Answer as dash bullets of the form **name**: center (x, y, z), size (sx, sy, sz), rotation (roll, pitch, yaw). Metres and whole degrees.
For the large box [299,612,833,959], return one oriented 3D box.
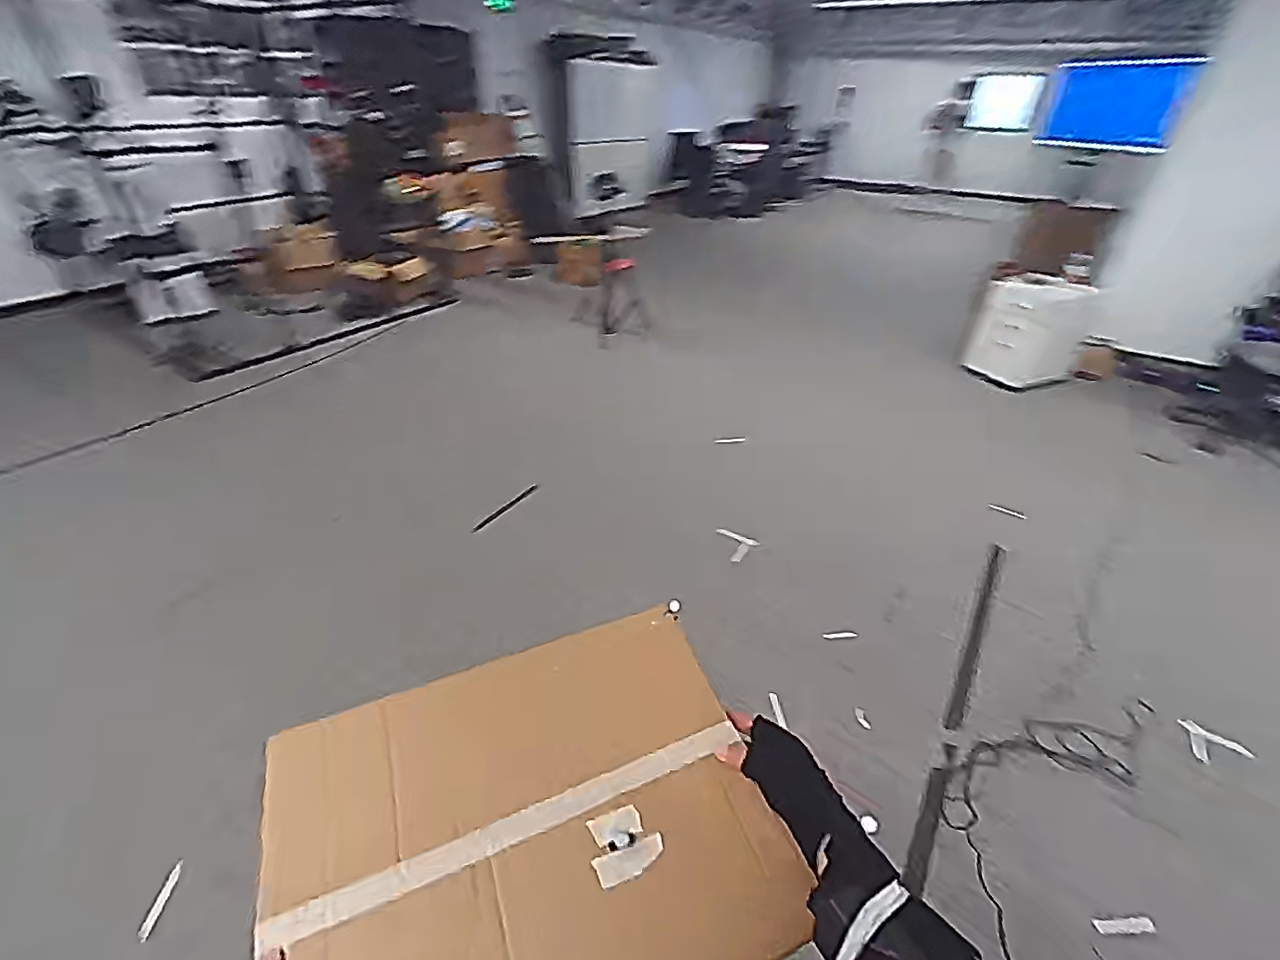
- **large box**: center (-0.088, 0.405, 0.576), size (0.408, 0.320, 0.320), rotation (-13, 46, -18)
